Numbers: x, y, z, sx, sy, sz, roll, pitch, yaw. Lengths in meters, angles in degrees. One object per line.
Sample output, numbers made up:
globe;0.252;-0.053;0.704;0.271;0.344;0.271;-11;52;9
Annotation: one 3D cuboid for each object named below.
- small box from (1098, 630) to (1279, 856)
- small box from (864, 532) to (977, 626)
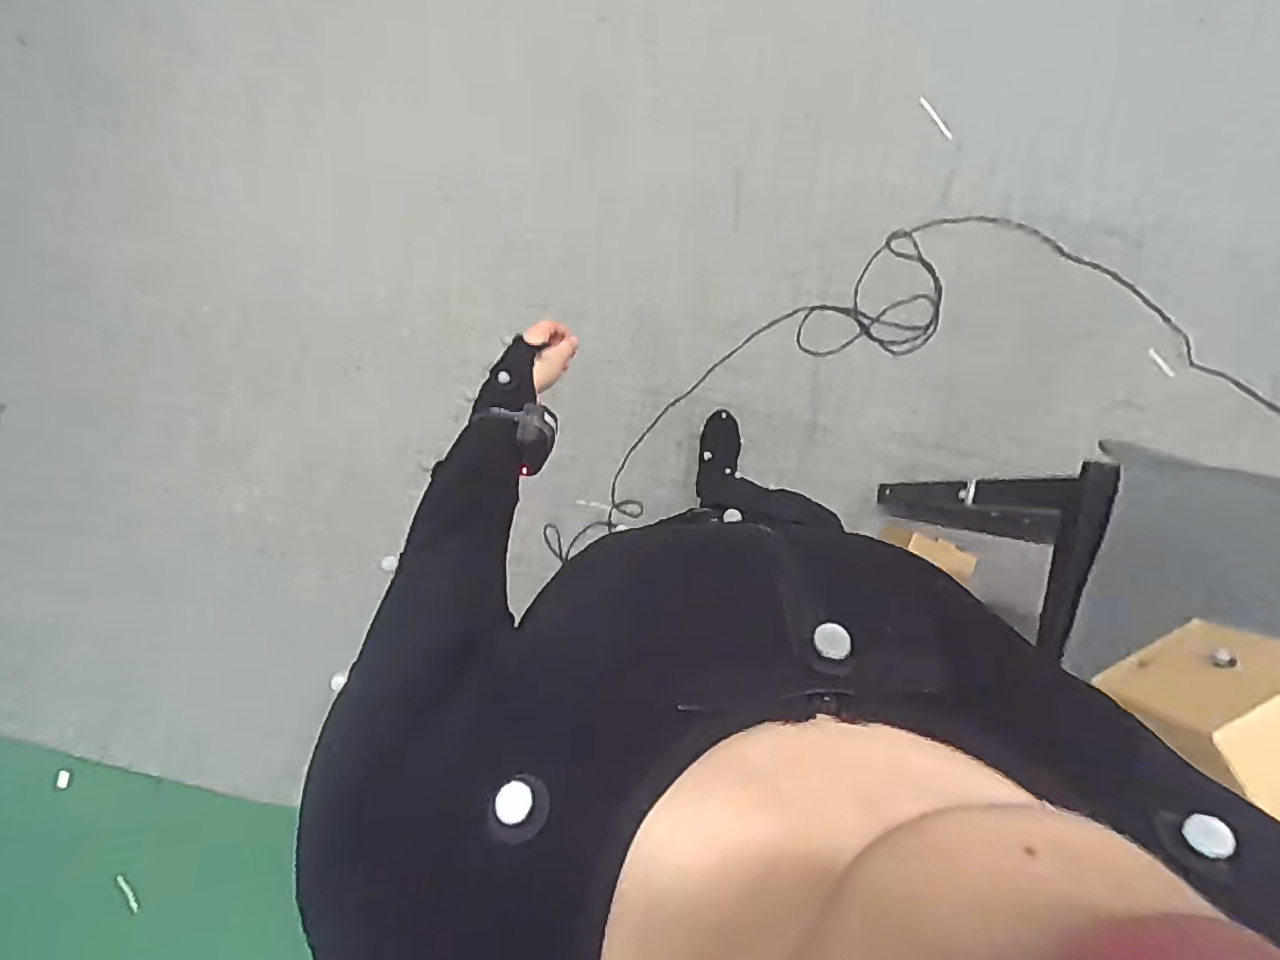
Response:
small box;0.703;0.293;0.629;0.168;0.176;0.179;-31;88;1
small box;0.694;0.239;1.358;0.168;0.176;0.179;23;89;3
